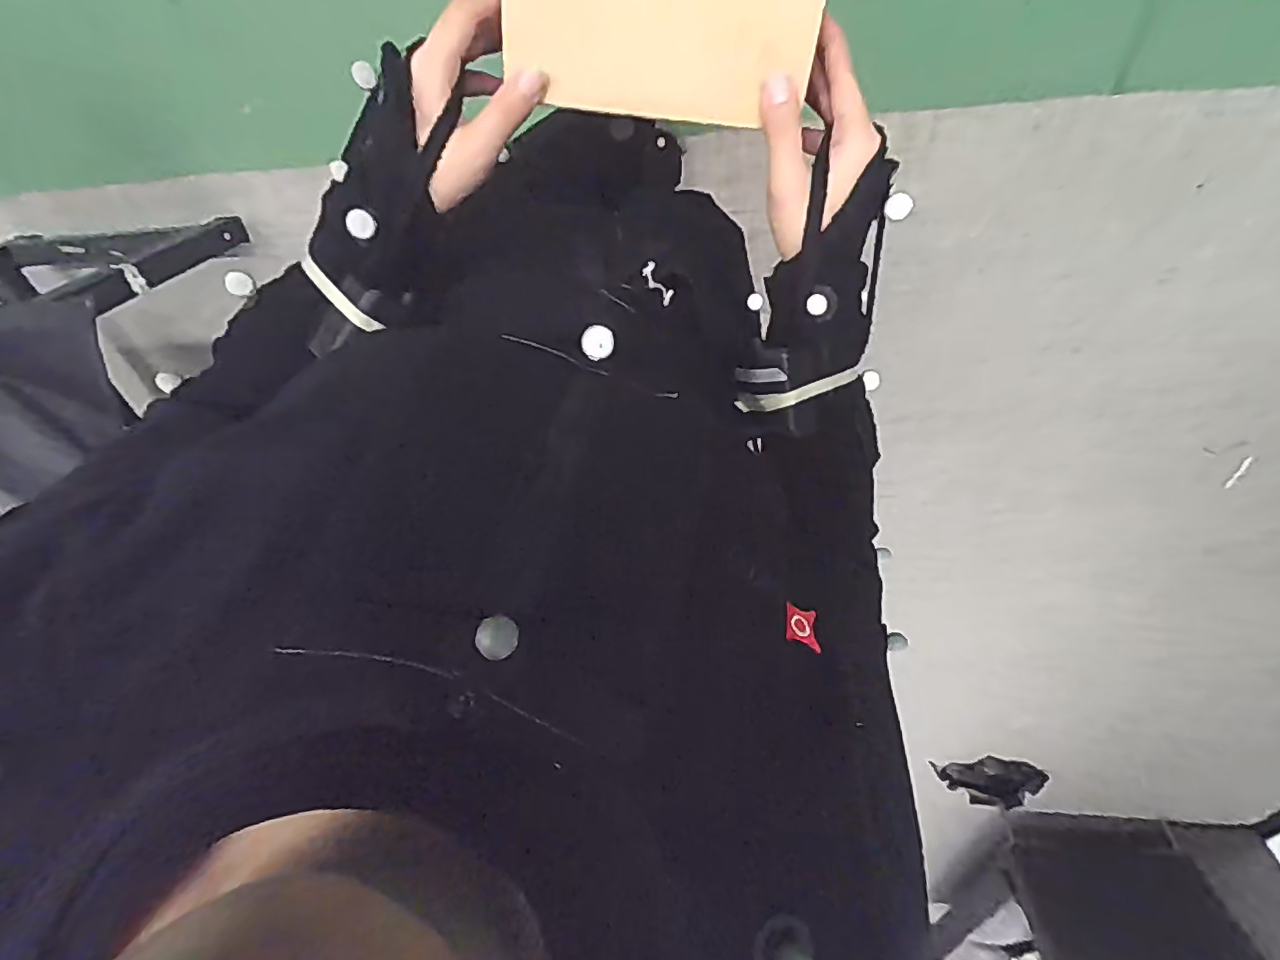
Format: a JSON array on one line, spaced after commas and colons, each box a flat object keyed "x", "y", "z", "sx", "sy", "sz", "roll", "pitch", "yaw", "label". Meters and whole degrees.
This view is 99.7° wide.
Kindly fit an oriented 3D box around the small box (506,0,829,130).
[{"x": 0.022, "y": -0.319, "z": 0.316, "sx": 0.168, "sy": 0.176, "sz": 0.179, "roll": 6, "pitch": 124, "yaw": -1, "label": "small box"}]
